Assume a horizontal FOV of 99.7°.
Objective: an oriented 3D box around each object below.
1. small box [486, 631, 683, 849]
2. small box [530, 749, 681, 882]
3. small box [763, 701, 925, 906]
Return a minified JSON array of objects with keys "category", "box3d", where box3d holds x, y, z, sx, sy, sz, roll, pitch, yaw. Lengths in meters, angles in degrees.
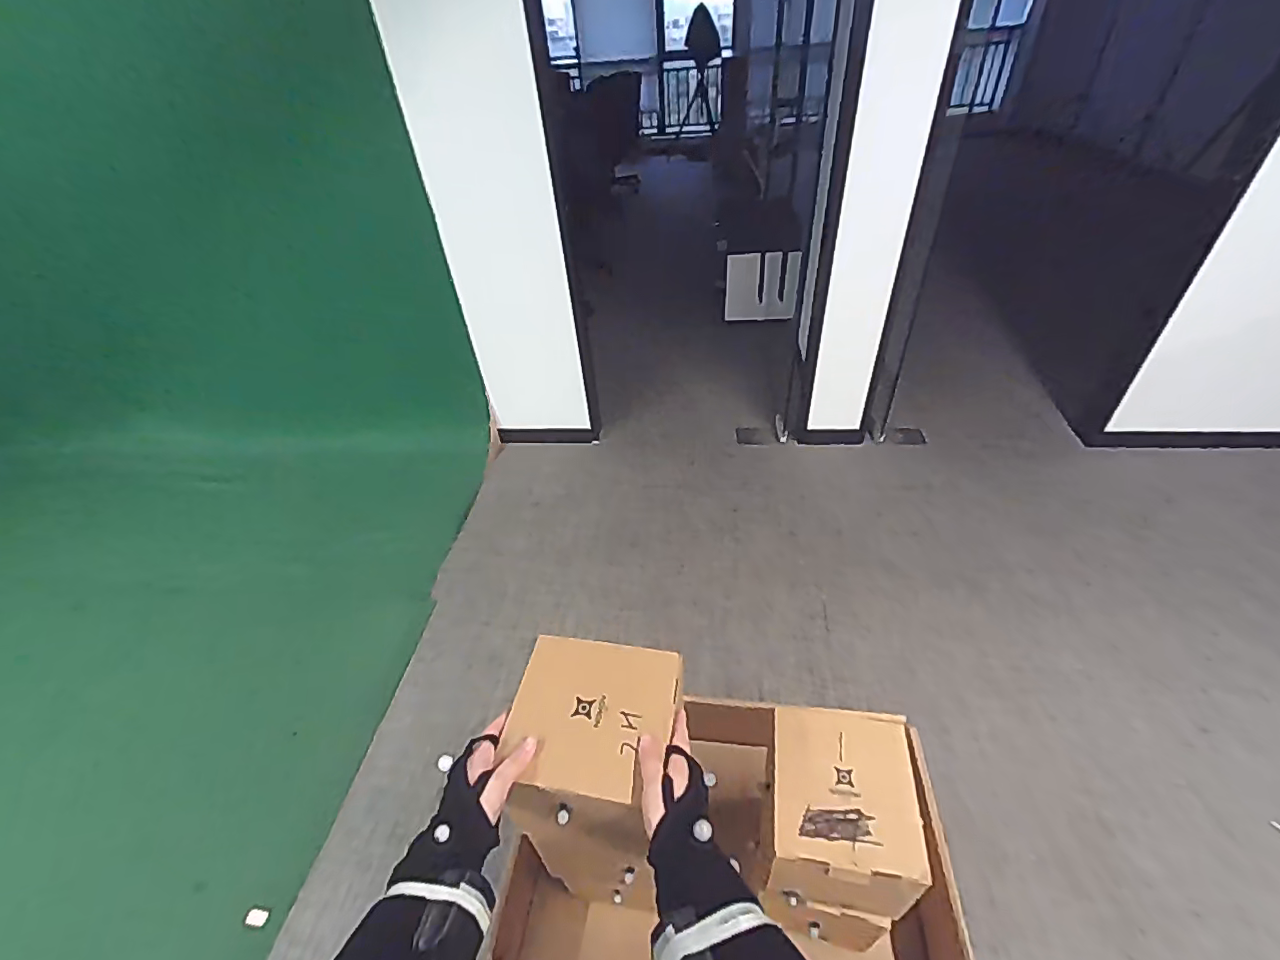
[{"category":"small box","box3d":[-0.048,0.303,0.633,0.179,0.176,0.168,5,43,11]},{"category":"small box","box3d":[-0.033,0.422,0.744,0.168,0.176,0.179,3,41,9]},{"category":"small box","box3d":[0.251,0.421,0.705,0.168,0.176,0.179,3,41,12]}]
